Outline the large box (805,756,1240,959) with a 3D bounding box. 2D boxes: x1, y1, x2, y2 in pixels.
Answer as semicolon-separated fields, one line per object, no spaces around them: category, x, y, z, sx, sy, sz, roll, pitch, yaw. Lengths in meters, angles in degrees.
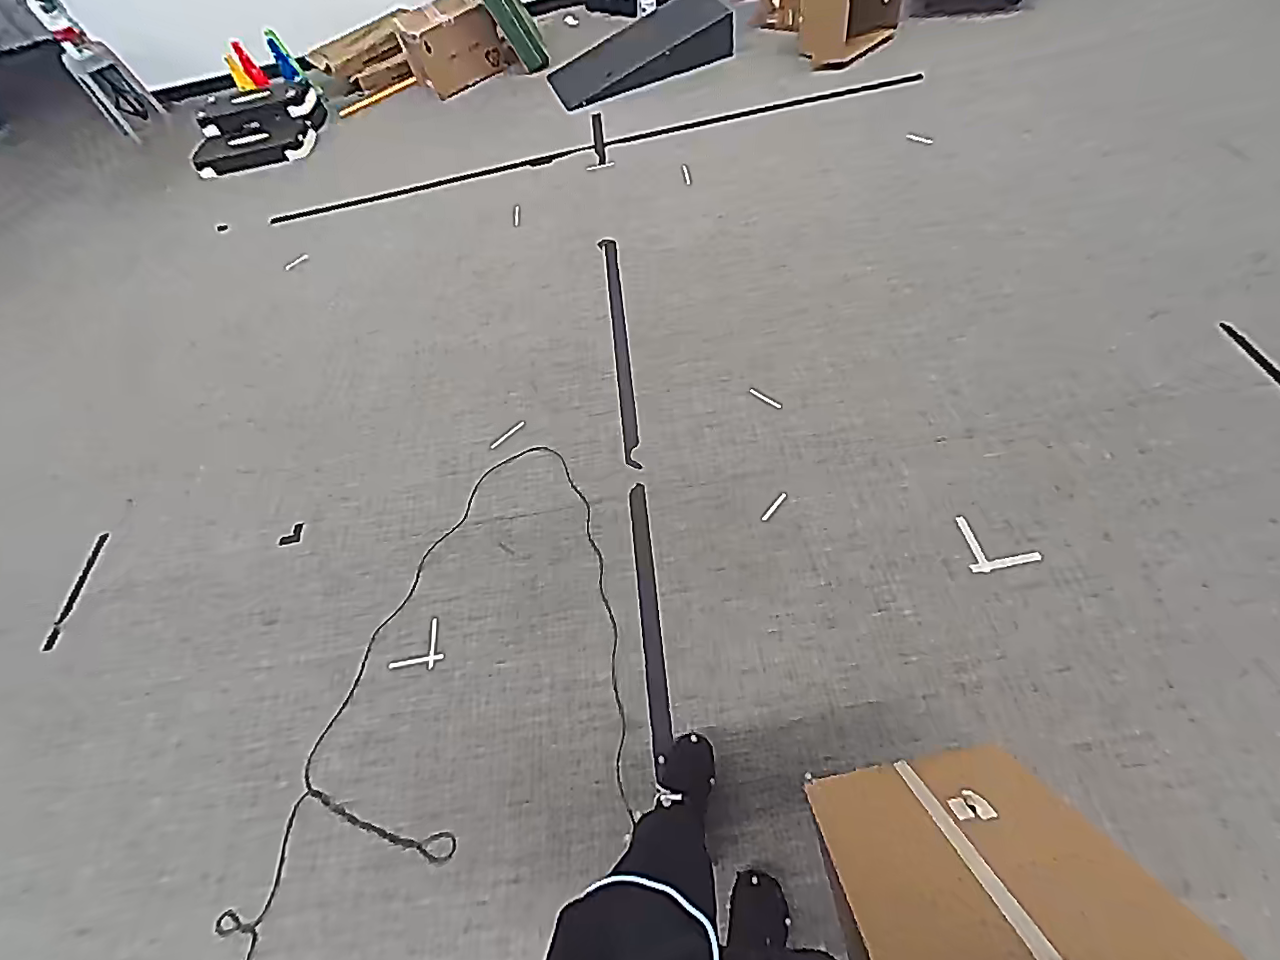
large box;0.441;0.620;0.671;0.320;0.408;0.320;-13;88;4
